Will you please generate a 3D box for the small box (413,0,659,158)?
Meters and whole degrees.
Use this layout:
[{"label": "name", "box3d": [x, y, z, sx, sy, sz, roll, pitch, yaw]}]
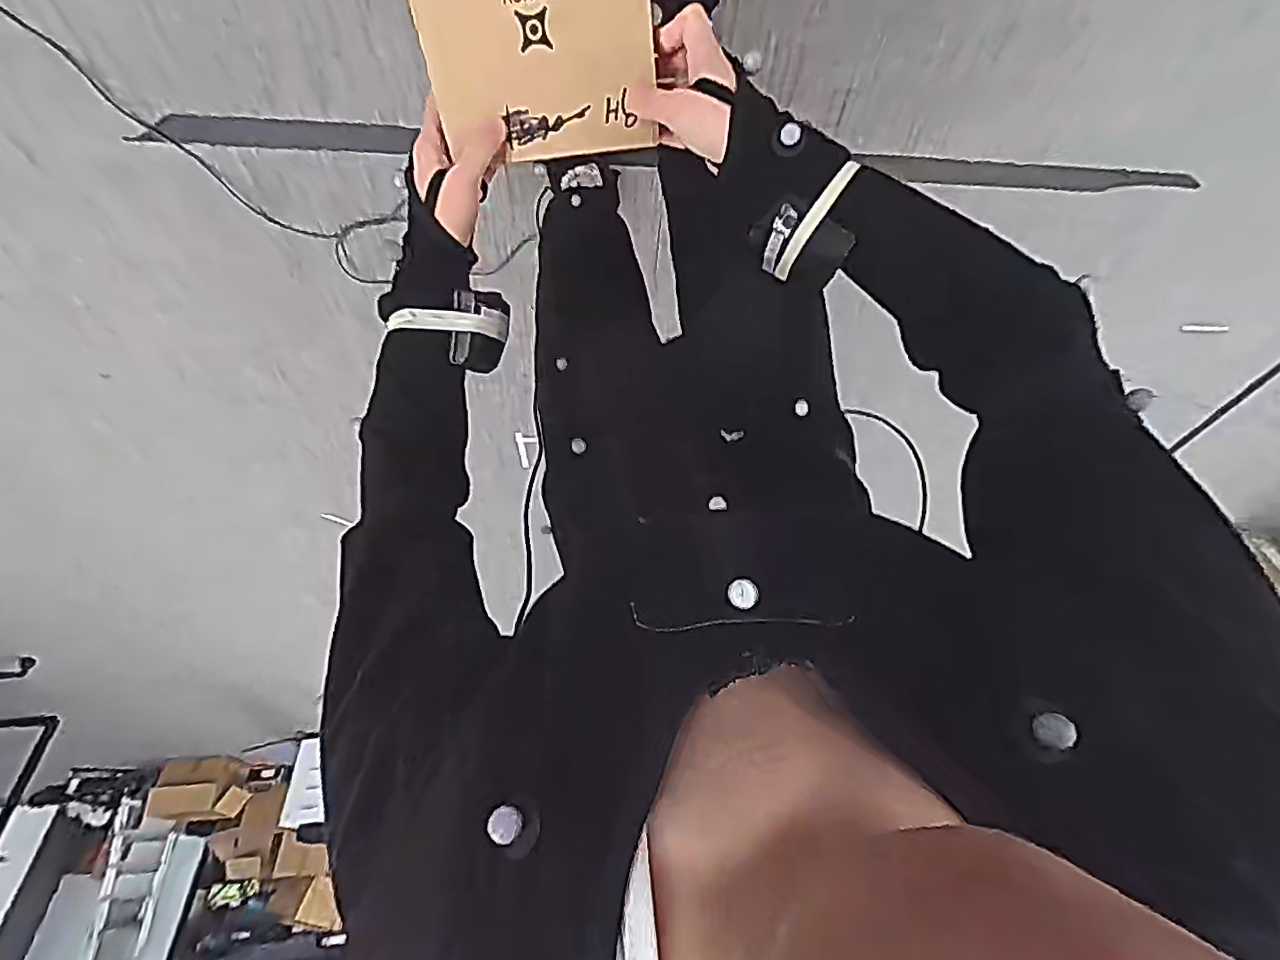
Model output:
[{"label": "small box", "box3d": [-0.077, -0.374, 0.436, 0.168, 0.176, 0.179, -6, 126, 1]}]
